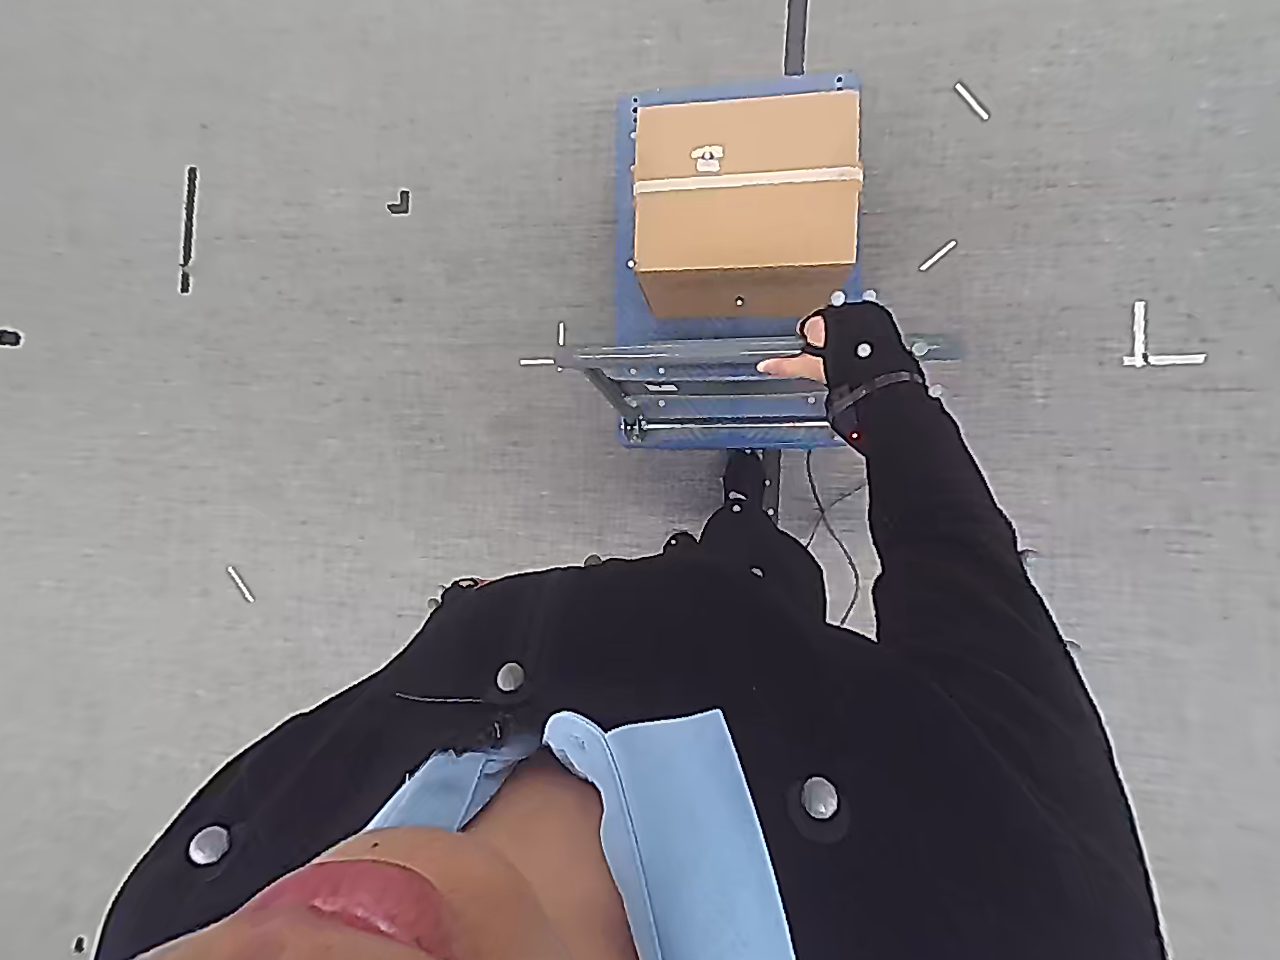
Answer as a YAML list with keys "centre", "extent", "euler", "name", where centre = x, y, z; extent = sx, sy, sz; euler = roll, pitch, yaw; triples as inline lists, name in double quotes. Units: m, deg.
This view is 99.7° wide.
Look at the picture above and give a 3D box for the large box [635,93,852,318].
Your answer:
- centre: [0.214, -0.549, 1.158]
  extent: [0.408, 0.320, 0.320]
  euler: [0, 89, 10]
  name: "large box"
